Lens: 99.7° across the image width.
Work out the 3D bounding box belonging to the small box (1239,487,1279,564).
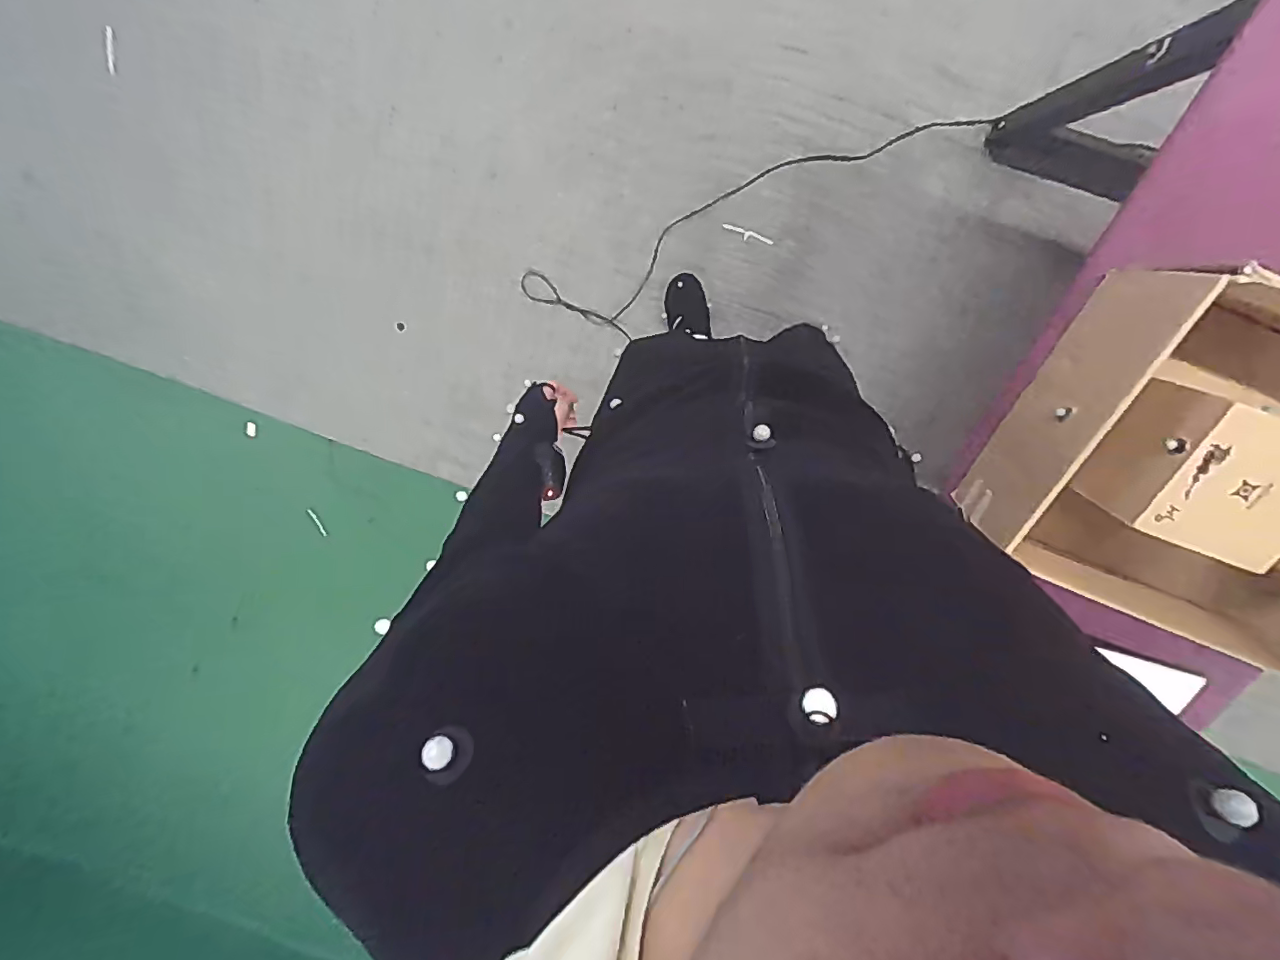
[{"bbox_3d":[0.958,0.074,0.681,0.179,0.176,0.168,20,114,1],"label":"small box"}]
